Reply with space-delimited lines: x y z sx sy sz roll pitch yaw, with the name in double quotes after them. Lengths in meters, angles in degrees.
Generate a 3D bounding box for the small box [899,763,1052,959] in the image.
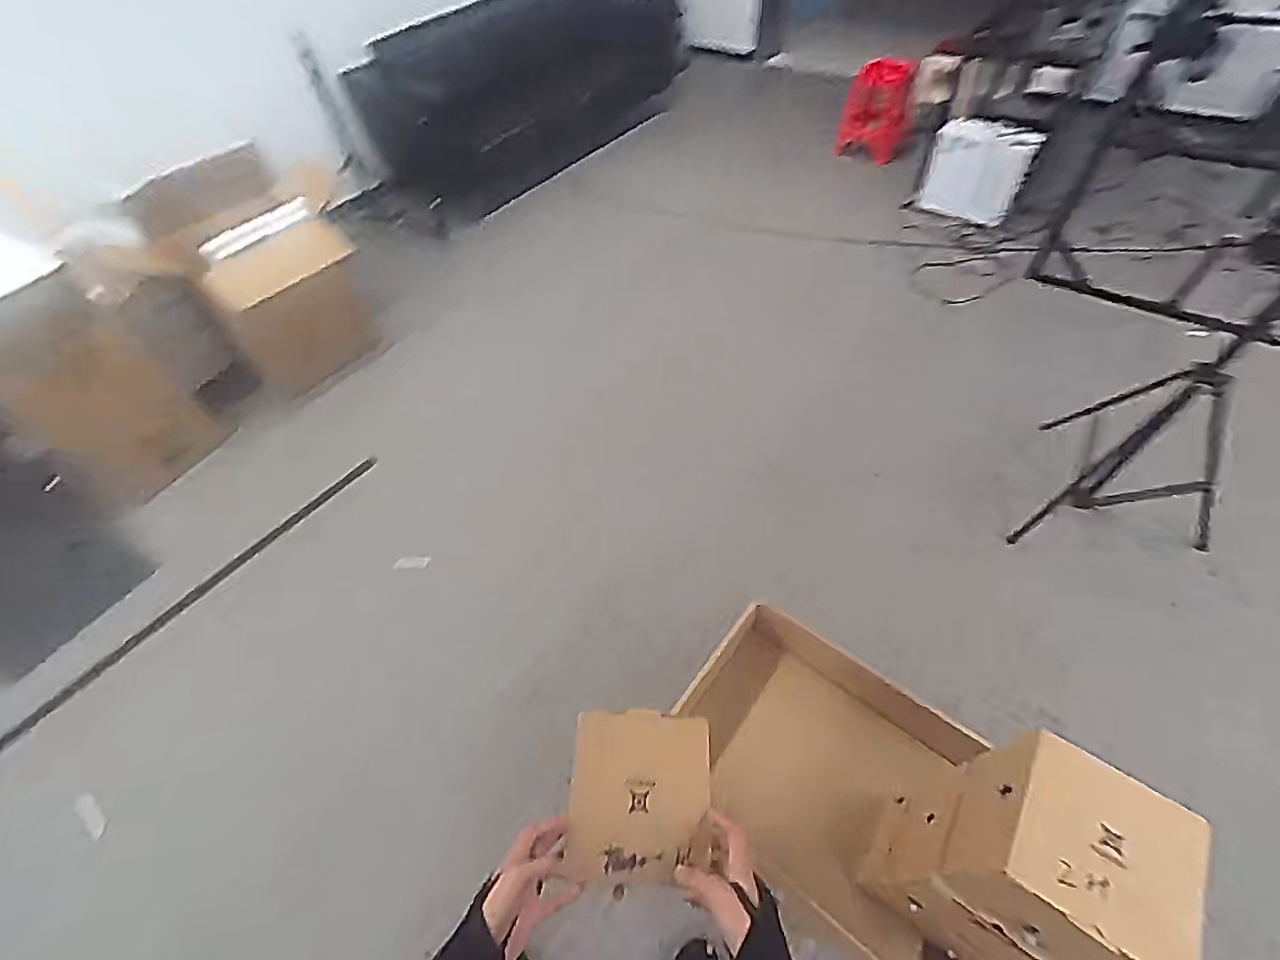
0.488 0.539 0.753 0.168 0.176 0.179 30 59 22 "small box"

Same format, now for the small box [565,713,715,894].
-0.003 0.411 0.691 0.168 0.176 0.179 4 57 -2 "small box"

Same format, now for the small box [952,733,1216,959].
0.496 0.435 0.625 0.168 0.176 0.179 29 60 23 "small box"
